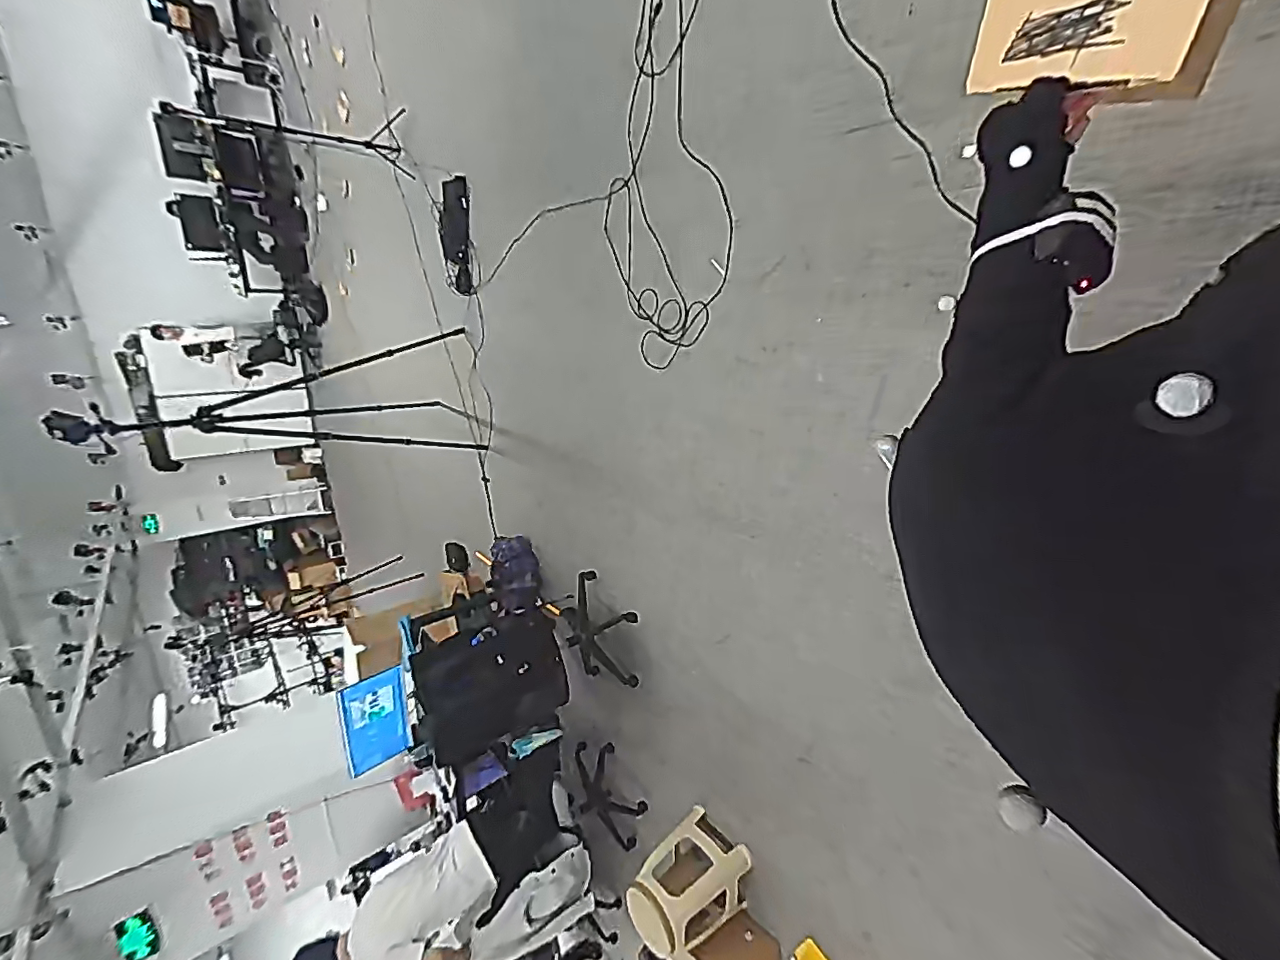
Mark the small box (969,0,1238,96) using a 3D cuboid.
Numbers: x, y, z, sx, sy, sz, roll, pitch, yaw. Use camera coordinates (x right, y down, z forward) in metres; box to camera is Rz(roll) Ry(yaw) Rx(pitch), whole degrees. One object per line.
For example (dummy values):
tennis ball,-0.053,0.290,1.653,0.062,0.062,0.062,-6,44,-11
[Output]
small box,0.443,-0.465,0.496,0.168,0.176,0.179,28,129,38
